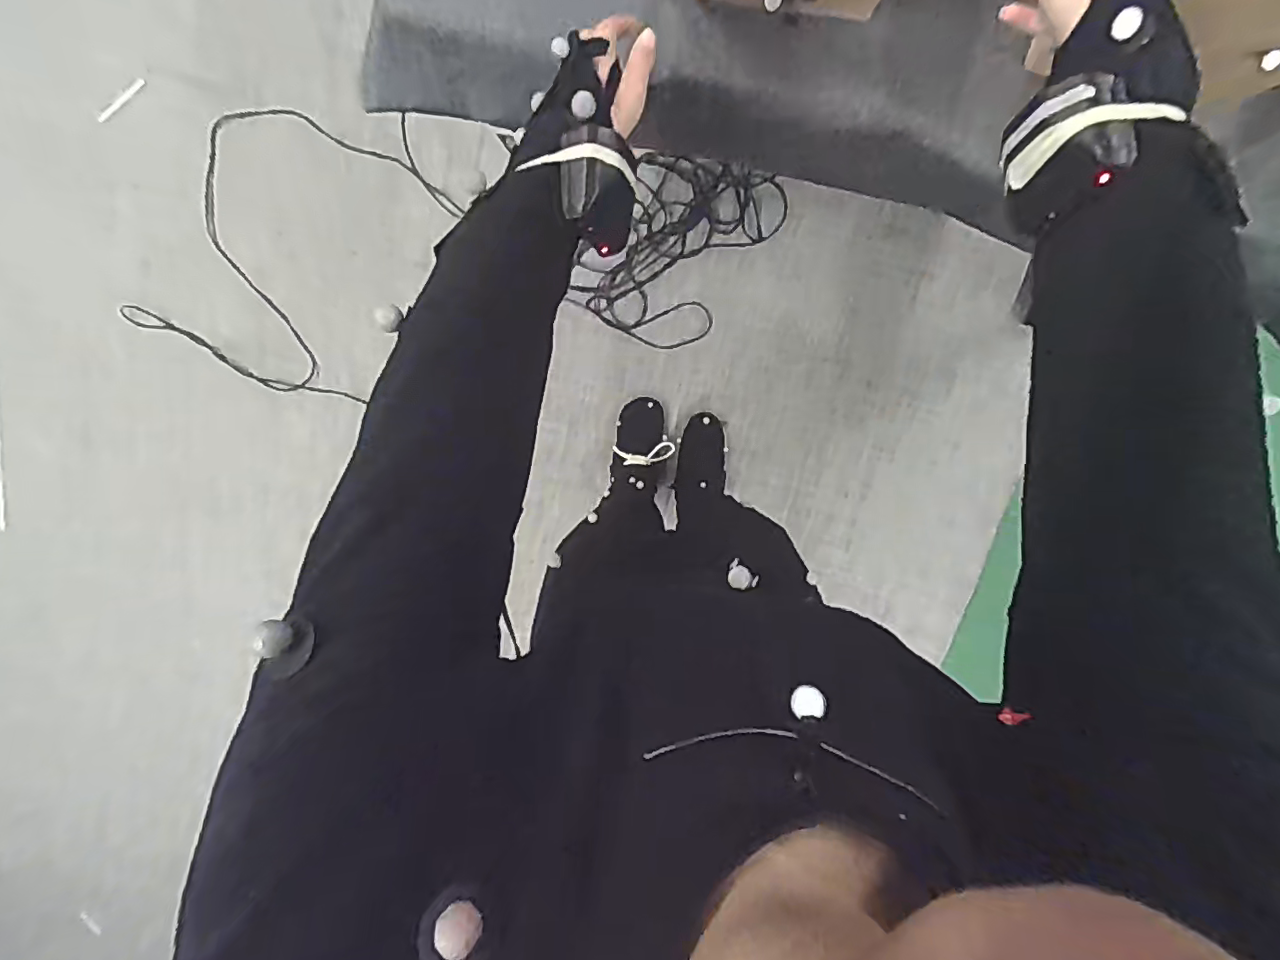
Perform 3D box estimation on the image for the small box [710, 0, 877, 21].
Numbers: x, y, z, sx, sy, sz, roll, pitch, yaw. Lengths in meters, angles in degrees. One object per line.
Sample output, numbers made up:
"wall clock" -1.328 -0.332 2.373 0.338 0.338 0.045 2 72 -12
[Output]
"small box" 0.137 -0.497 0.401 0.168 0.176 0.179 6 103 1
